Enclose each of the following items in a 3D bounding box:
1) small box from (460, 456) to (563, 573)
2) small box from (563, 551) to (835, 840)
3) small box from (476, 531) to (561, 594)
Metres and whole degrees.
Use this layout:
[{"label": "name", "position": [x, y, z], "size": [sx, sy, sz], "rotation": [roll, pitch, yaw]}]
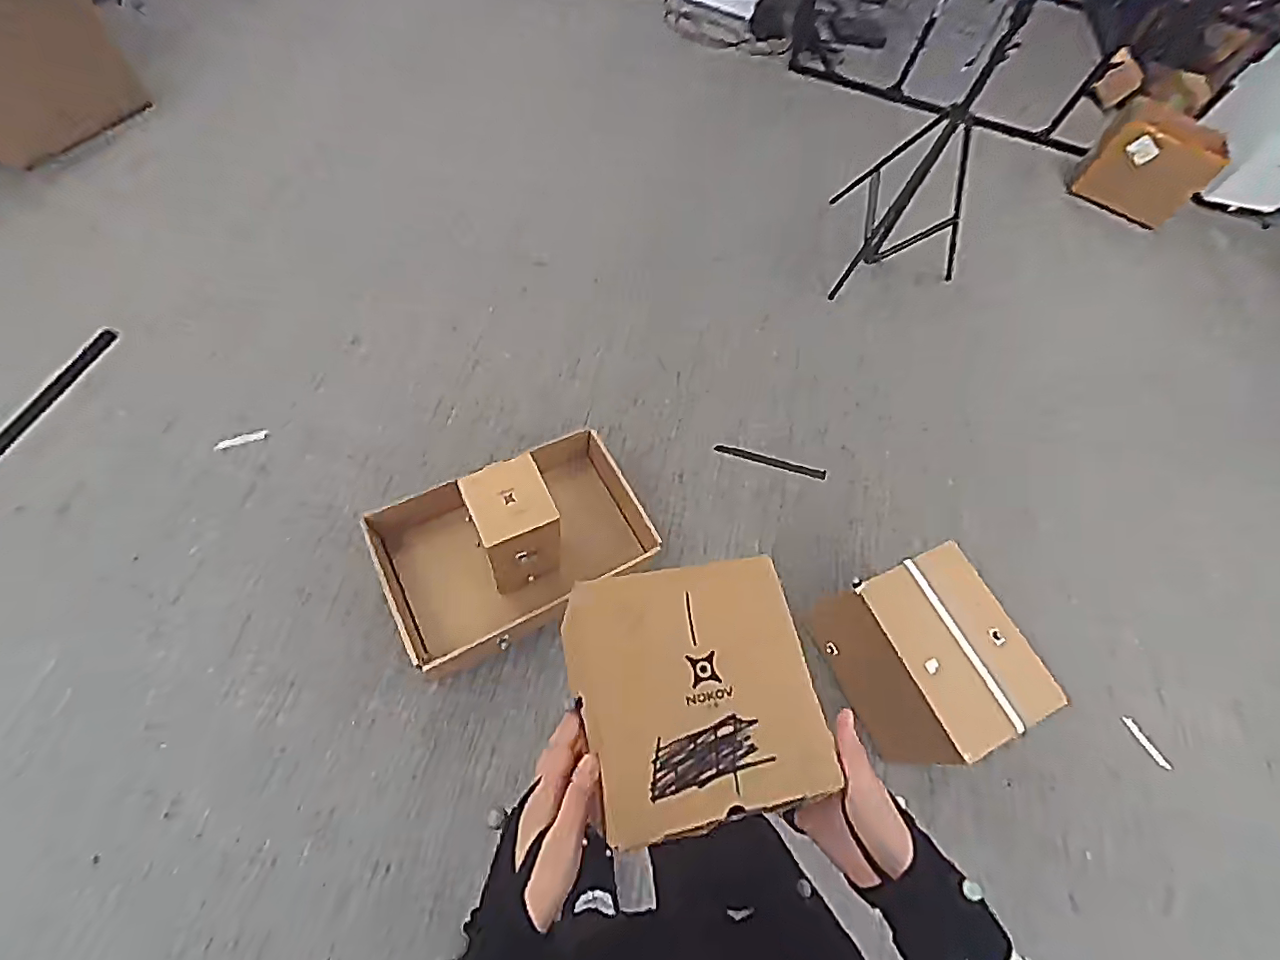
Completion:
[{"label": "small box", "position": [-0.282, 0.080, 1.202], "size": [0.168, 0.176, 0.179], "rotation": [-23, 68, -18]}, {"label": "small box", "position": [0.029, 0.179, 0.464], "size": [0.168, 0.176, 0.179], "rotation": [-6, 63, -15]}, {"label": "small box", "position": [-0.305, 0.157, 1.343], "size": [0.168, 0.176, 0.179], "rotation": [-21, 67, -18]}]
